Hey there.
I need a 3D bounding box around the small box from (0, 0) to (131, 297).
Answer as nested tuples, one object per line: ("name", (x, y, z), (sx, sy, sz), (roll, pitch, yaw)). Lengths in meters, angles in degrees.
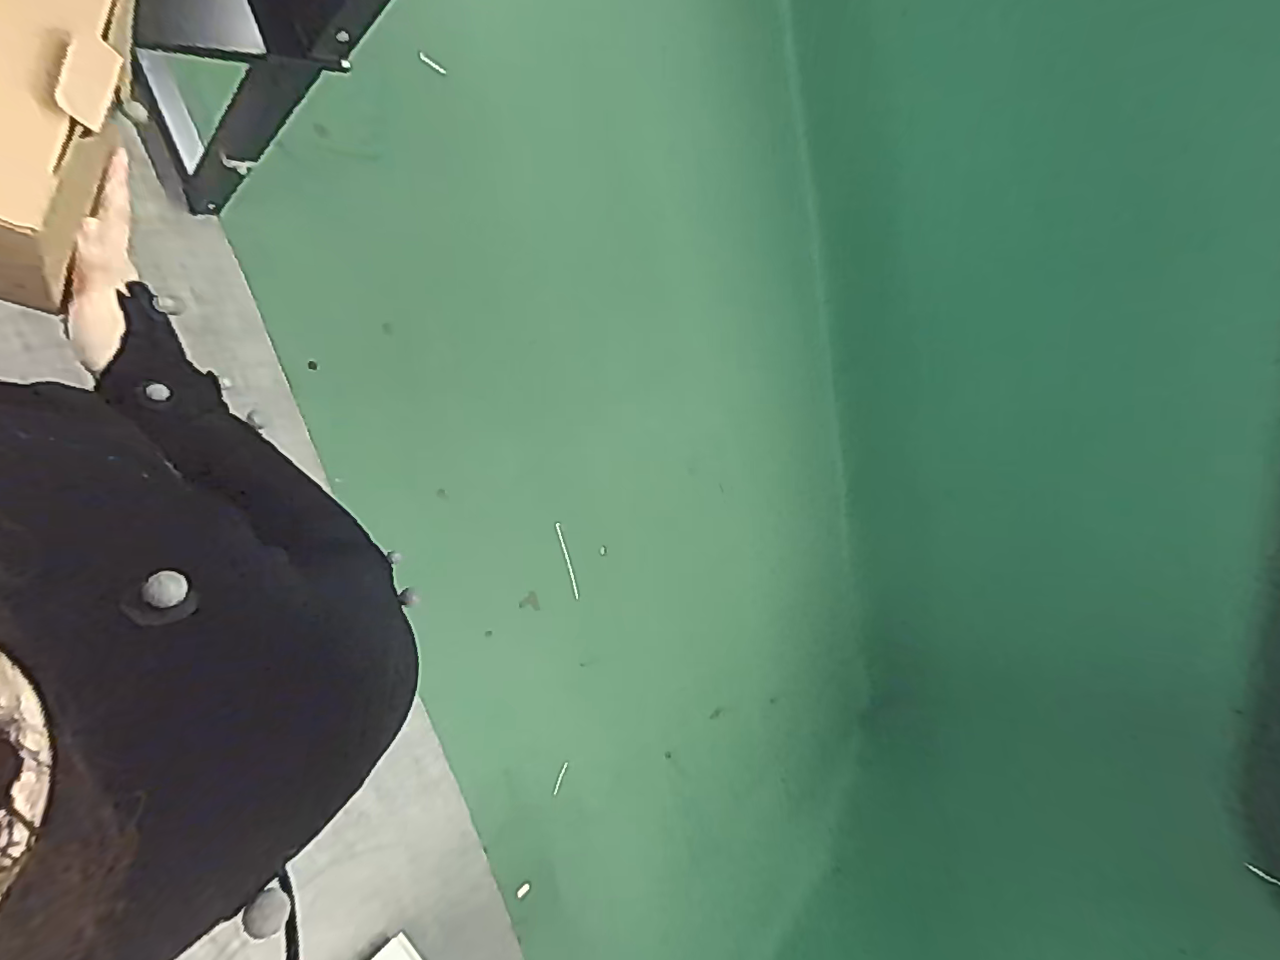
("small box", (-0.388, -0.209, 0.265), (0.179, 0.176, 0.168), (16, 78, -44))
